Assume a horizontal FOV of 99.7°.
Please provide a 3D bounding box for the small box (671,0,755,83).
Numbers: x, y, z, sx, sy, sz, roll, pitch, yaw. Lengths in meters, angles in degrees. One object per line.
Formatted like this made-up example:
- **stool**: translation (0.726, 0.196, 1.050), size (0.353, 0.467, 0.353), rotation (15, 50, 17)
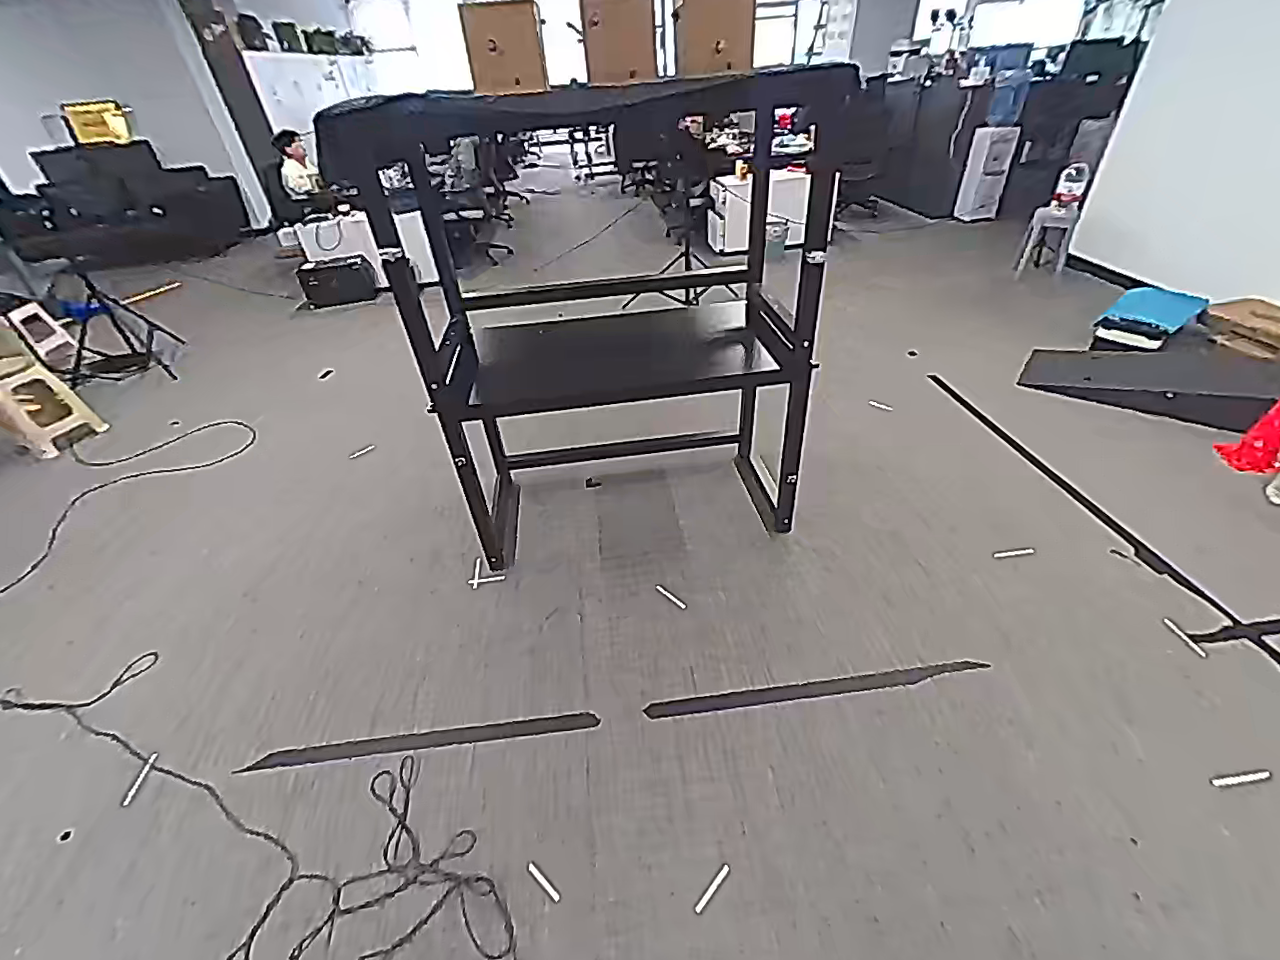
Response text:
- **small box**: translation (0.165, -1.044, 1.272), size (0.168, 0.176, 0.179), rotation (-7, 37, -1)

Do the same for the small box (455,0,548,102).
- **small box**: translation (-0.313, -0.995, 1.265), size (0.168, 0.176, 0.179), rotation (-6, 36, -1)
